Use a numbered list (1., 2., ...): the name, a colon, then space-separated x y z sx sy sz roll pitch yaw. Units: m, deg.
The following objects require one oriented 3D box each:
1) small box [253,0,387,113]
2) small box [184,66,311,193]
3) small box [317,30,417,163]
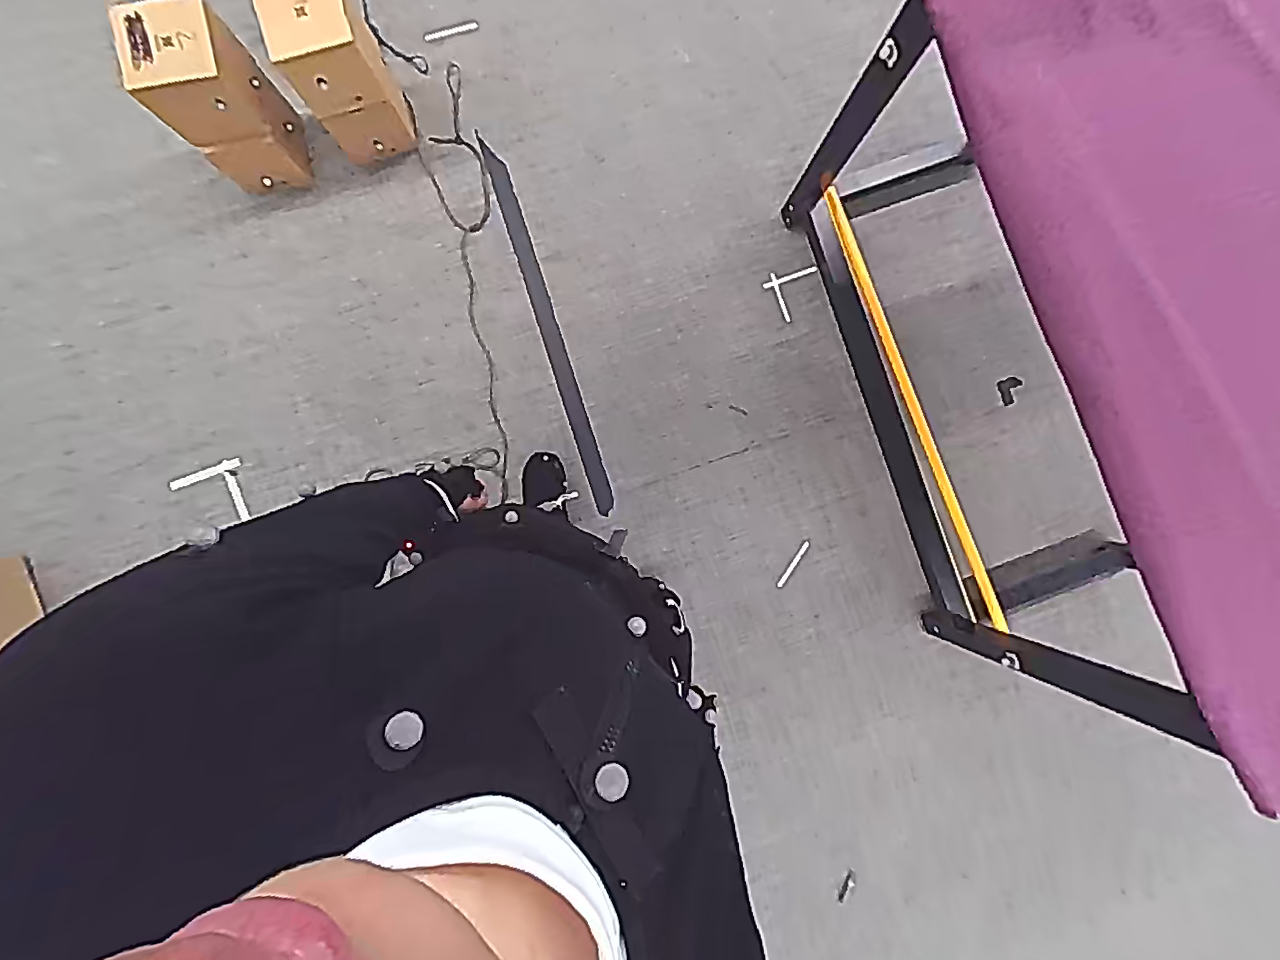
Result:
1. small box: -0.653 -0.901 1.117 0.168 0.176 0.179 -17 89 -2
2. small box: -0.907 -0.811 1.264 0.168 0.176 0.179 -12 90 -3
3. small box: -0.657 -0.898 1.280 0.168 0.176 0.179 -17 90 -2
